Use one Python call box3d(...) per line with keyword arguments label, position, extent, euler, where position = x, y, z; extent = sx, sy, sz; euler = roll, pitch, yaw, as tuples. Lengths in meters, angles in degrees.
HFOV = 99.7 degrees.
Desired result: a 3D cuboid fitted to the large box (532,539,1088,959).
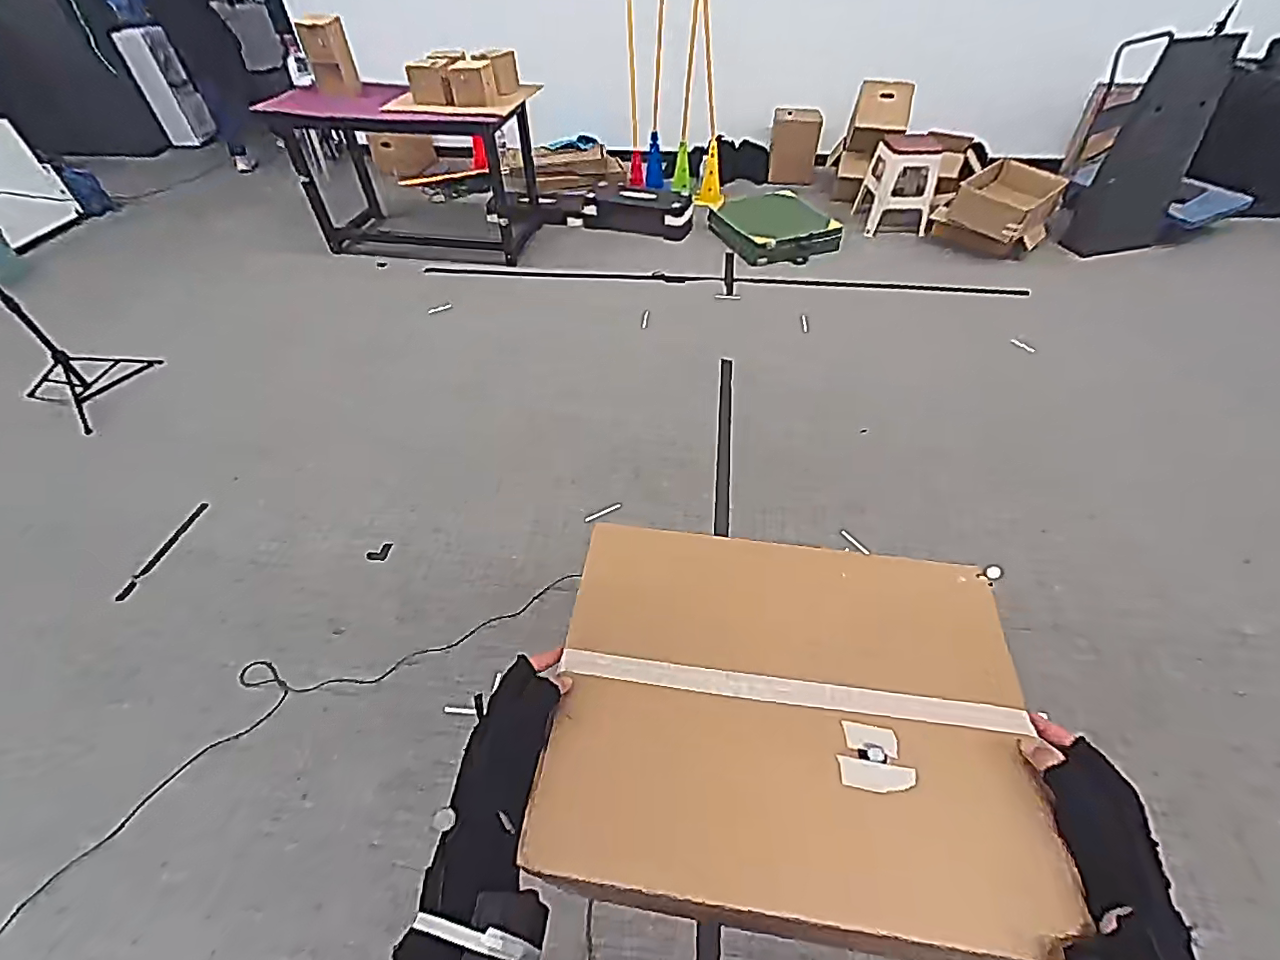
box3d(label="large box", position=(0.131, 0.294, 0.594), extent=(0.408, 0.320, 0.320), euler=(6, 51, 6))
